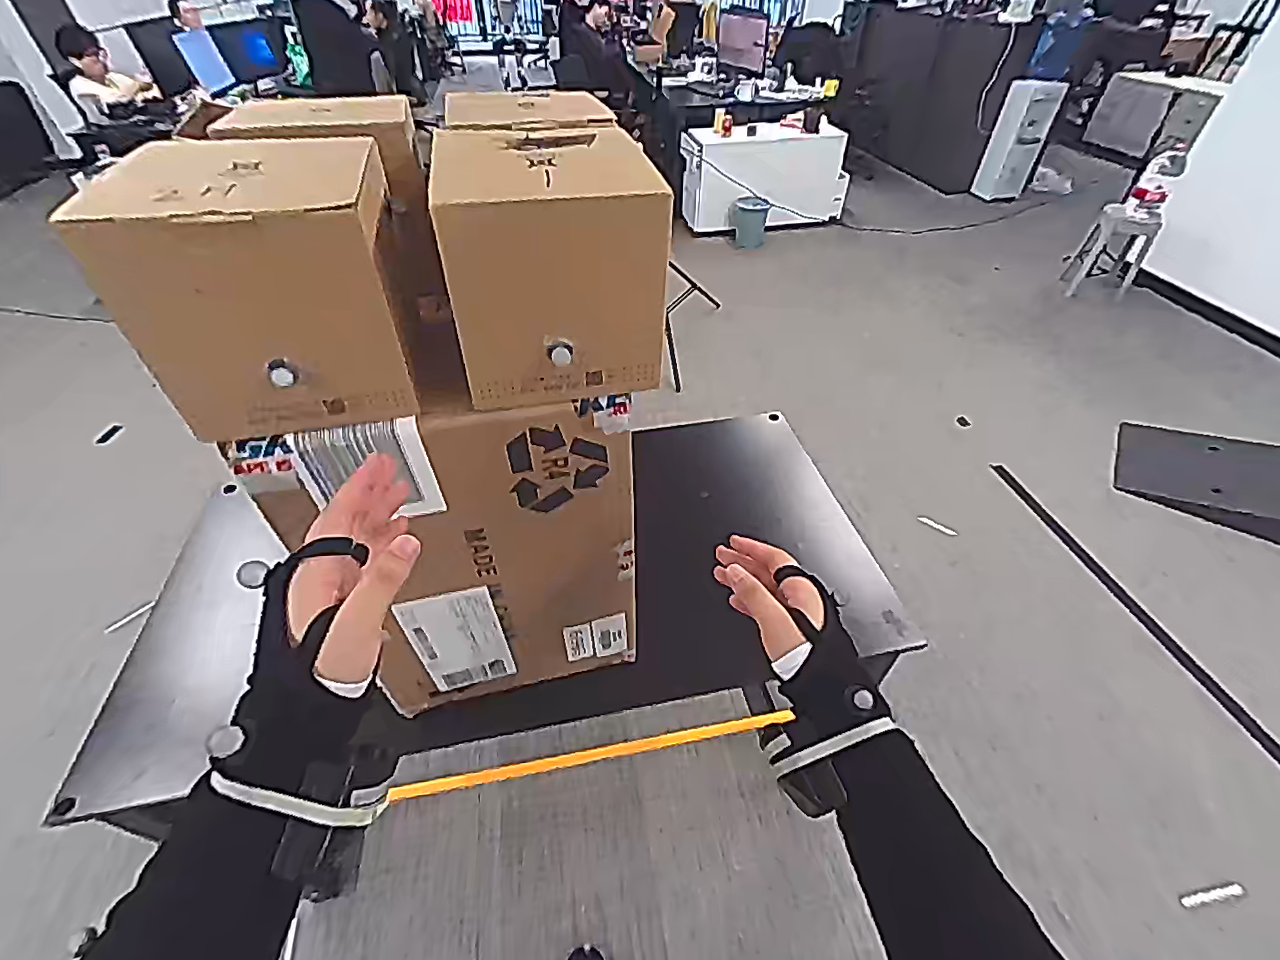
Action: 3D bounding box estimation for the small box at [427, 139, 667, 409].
[{"bbox_3d":[-0.080,-0.185,0.479,0.168,0.176,0.179,-9,46,-10],"label":"small box"}]
